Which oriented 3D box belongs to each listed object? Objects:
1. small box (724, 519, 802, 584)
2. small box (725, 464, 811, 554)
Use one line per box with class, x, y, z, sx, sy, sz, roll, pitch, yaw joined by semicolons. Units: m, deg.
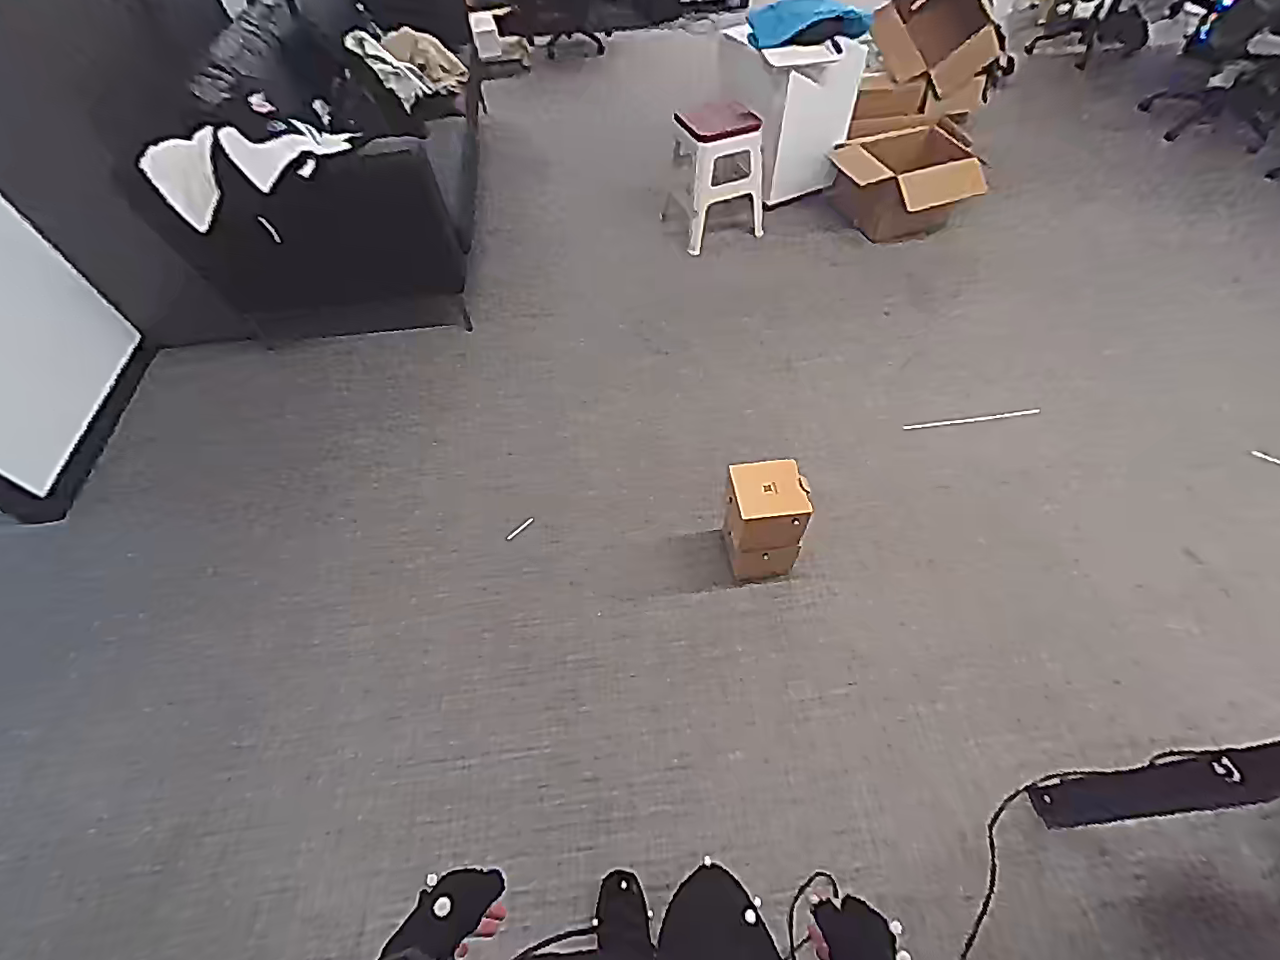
small box;0.341;0.176;1.540;0.168;0.176;0.179;-7;54;-2
small box;0.323;0.080;1.408;0.179;0.176;0.168;-7;54;-3
